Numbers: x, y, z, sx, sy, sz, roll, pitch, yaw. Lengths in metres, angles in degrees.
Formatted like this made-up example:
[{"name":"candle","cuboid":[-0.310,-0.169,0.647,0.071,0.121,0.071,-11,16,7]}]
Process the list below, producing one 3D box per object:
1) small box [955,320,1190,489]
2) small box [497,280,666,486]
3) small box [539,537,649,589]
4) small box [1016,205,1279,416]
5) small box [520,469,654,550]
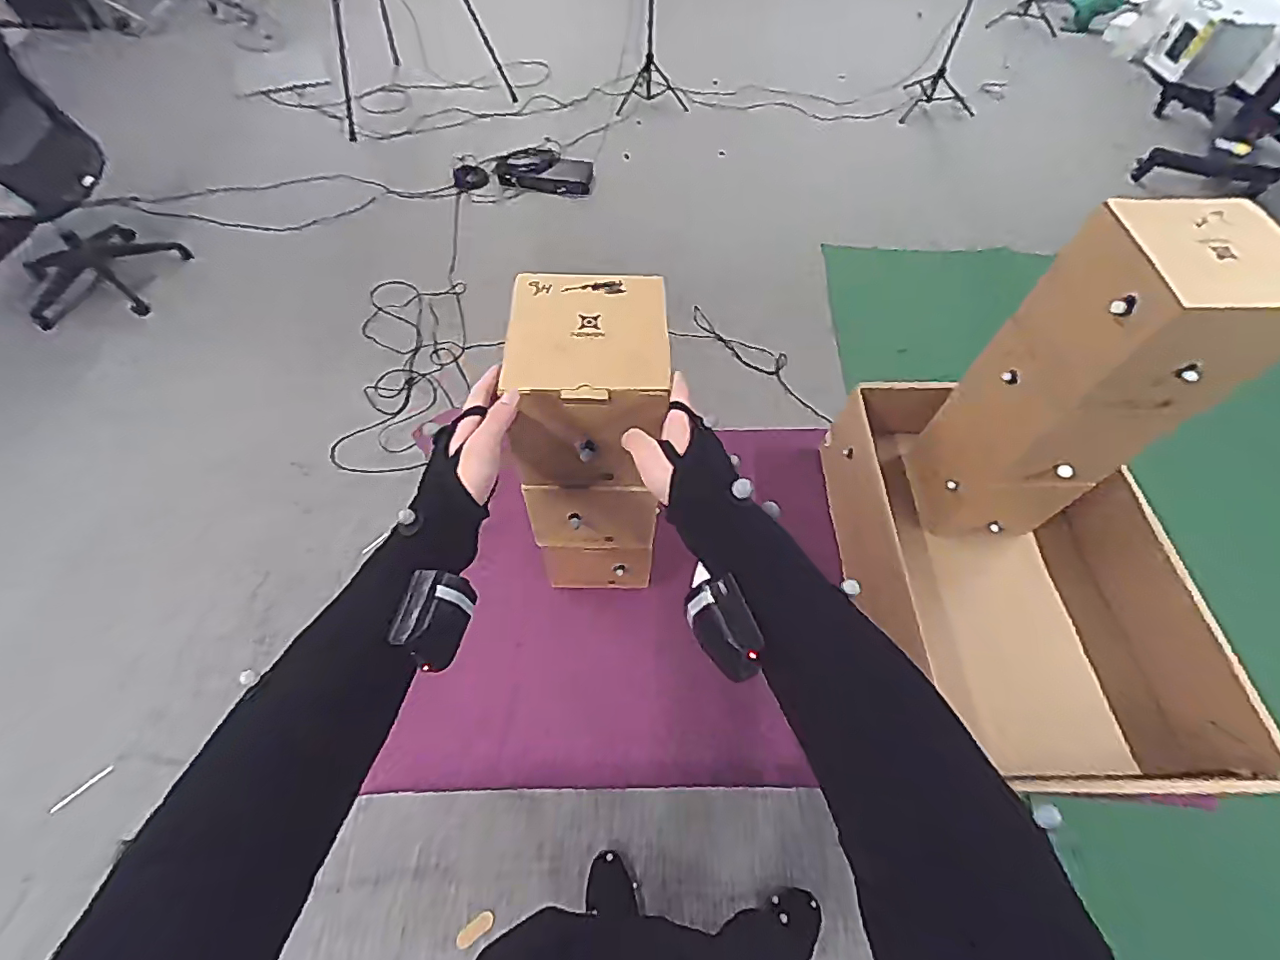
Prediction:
[{"name":"small box","cuboid":[0.584,-0.104,0.766,0.168,0.176,0.179,-1,59,0]},{"name":"small box","cuboid":[-0.058,-0.105,0.624,0.168,0.176,0.179,1,58,-3]},{"name":"small box","cuboid":[-0.067,0.072,0.897,0.168,0.176,0.179,1,57,-2]},{"name":"small box","cuboid":[0.586,-0.188,0.622,0.168,0.176,0.179,0,59,-1]},{"name":"small box","cuboid":[-0.064,-0.012,0.758,0.168,0.176,0.179,1,57,-2]}]
